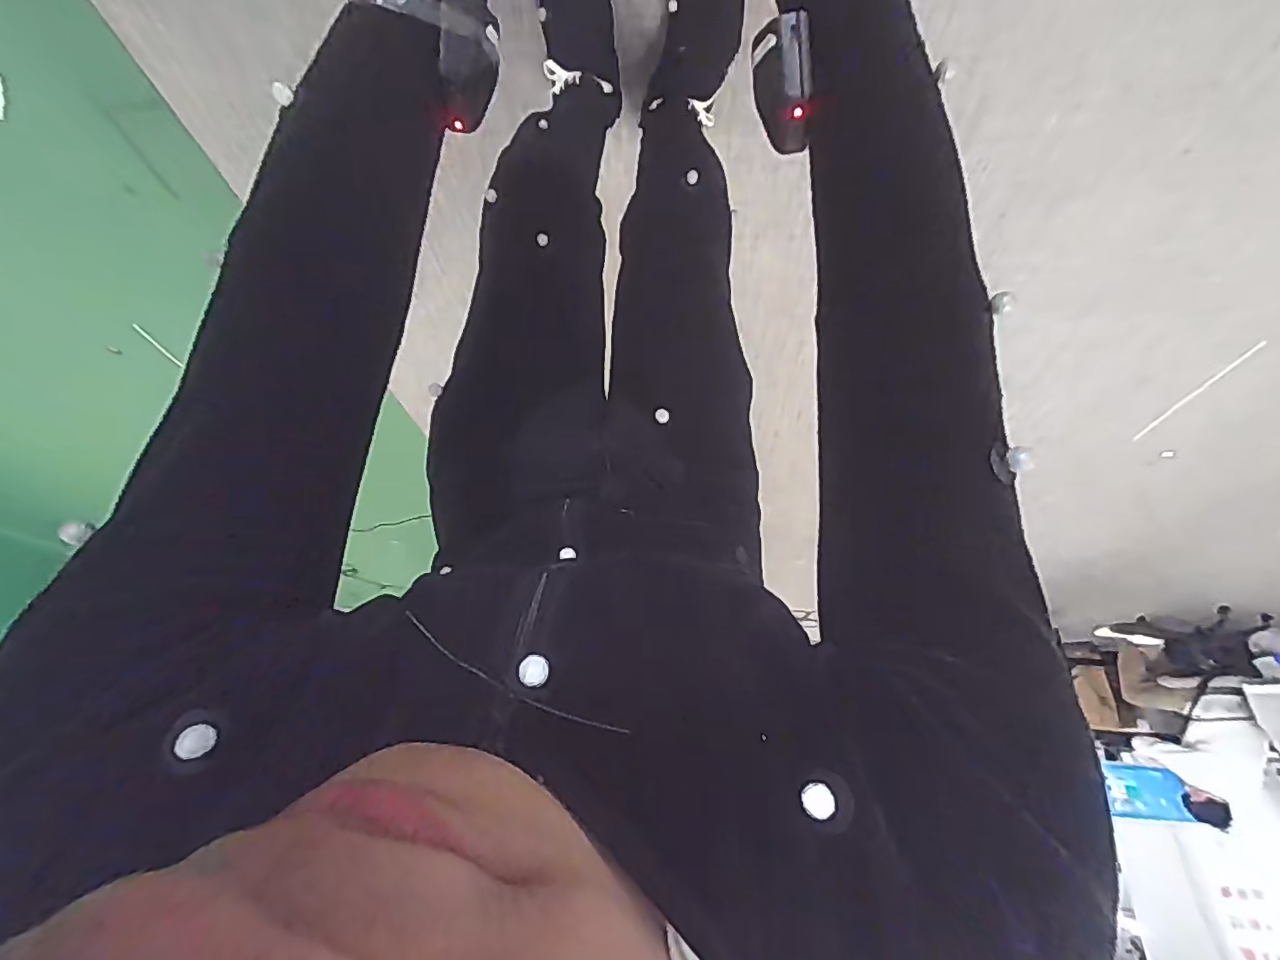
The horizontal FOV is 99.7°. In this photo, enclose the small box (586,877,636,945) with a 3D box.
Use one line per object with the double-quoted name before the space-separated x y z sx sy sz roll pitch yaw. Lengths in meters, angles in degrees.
"small box" -0.106 1.647 2.074 0.179 0.176 0.168 3 152 3
